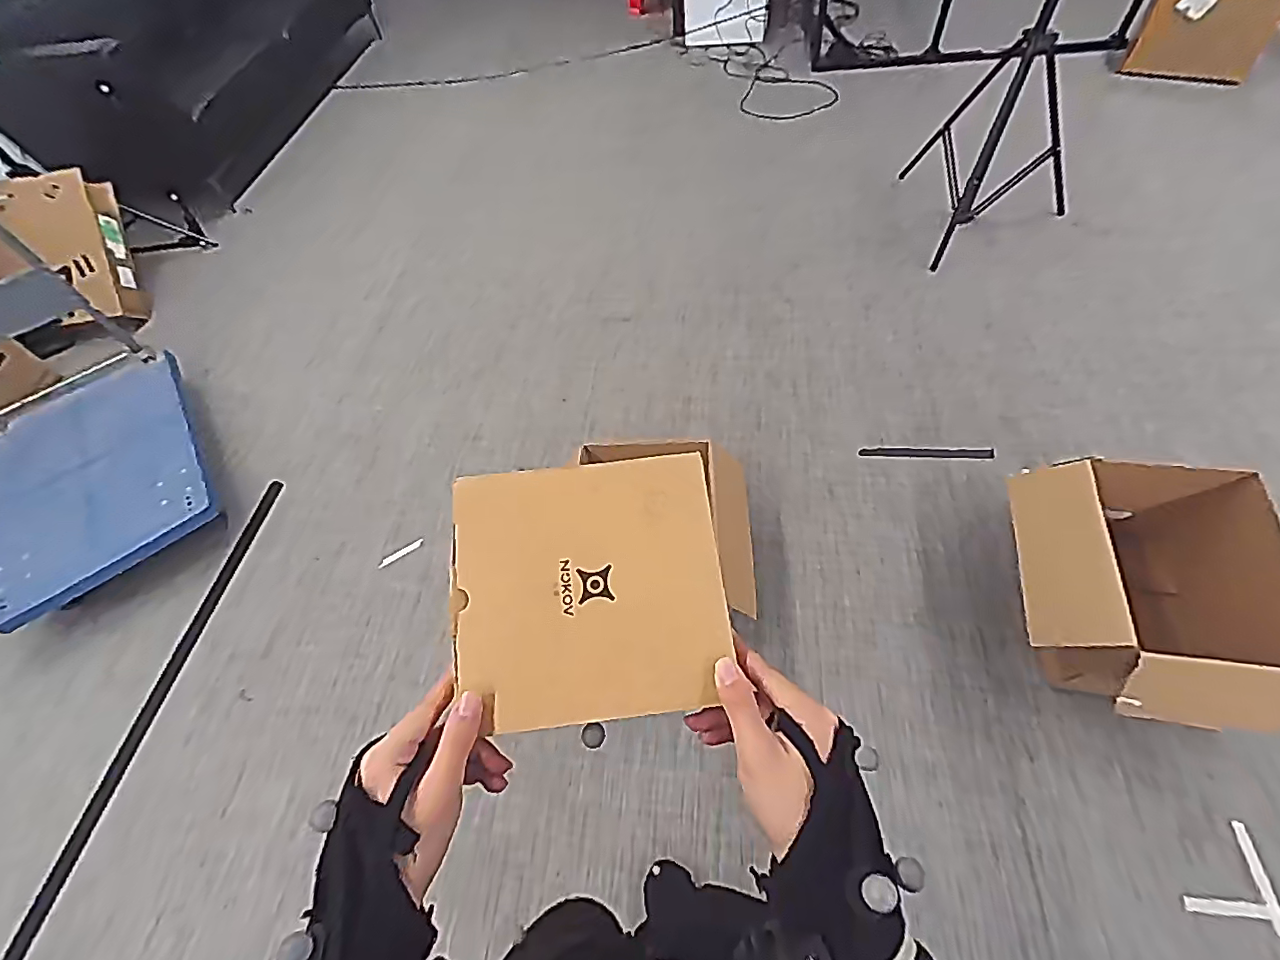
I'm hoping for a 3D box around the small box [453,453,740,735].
[{"bbox_3d":[-0.033,0.092,0.425,0.179,0.176,0.168,-7,71,-2],"label":"small box"}]
